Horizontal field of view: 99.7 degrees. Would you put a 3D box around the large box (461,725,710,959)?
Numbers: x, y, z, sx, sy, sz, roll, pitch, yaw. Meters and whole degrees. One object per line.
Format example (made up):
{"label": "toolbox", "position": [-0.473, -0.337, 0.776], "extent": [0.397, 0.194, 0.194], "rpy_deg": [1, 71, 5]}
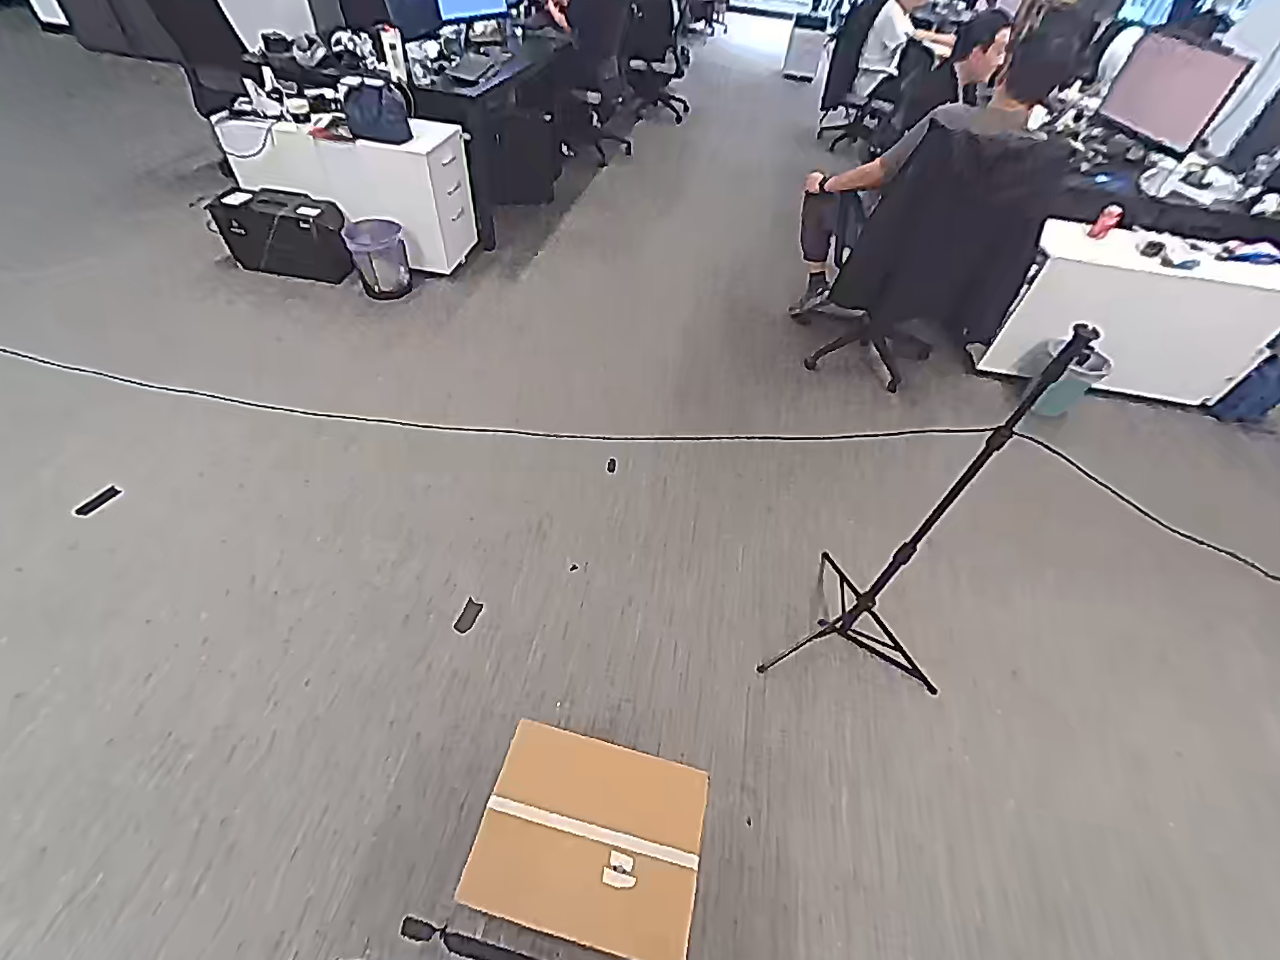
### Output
{"label": "large box", "position": [-0.098, 0.757, 1.113], "extent": [0.408, 0.320, 0.320], "rpy_deg": [14, 48, 5]}
